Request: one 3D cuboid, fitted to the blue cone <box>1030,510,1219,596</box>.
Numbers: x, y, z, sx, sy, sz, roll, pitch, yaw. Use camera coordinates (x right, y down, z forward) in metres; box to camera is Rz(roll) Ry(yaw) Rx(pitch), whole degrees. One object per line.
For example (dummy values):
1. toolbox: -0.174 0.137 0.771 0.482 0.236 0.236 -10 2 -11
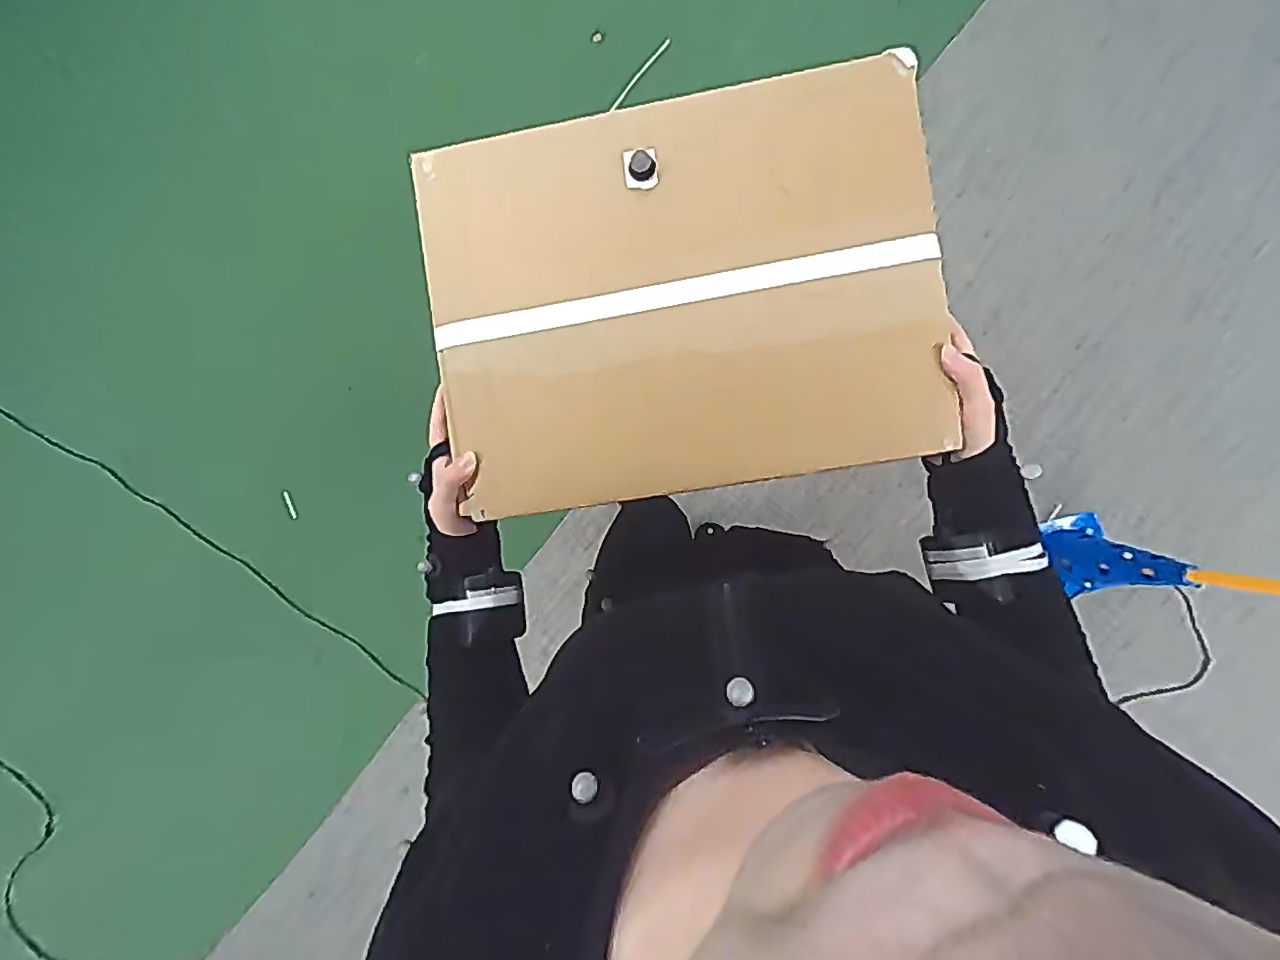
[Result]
1. blue cone: 1.092 0.179 1.213 0.192 0.380 0.193 -18 85 4
